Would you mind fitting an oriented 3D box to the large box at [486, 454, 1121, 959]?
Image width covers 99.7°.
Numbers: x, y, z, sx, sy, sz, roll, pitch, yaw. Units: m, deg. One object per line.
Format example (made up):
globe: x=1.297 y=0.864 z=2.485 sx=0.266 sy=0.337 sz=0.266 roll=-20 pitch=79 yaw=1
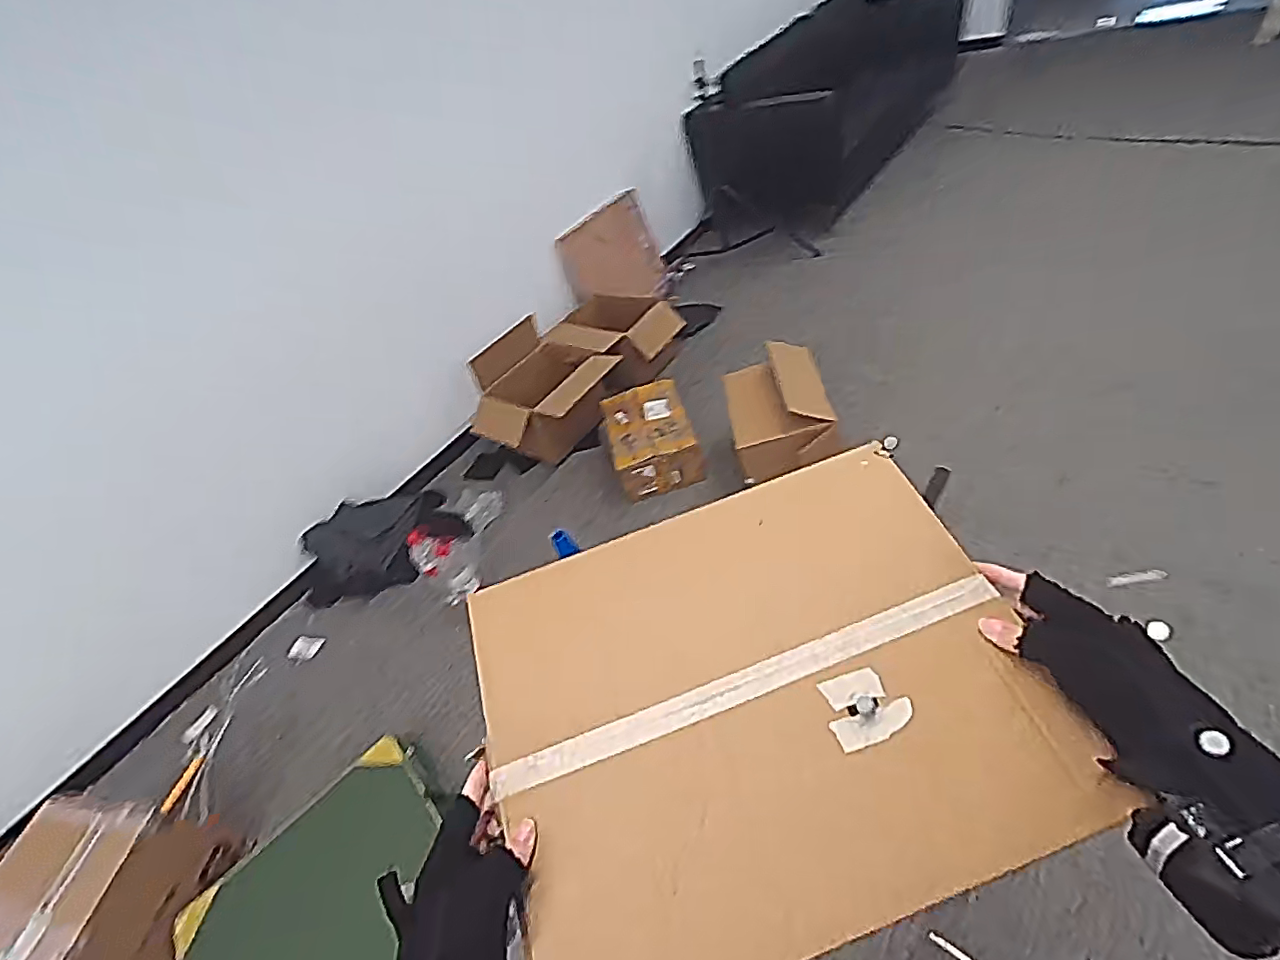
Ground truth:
large box: x=0.110 y=0.241 z=0.551 sx=0.408 sy=0.320 sz=0.320 roll=-20 pitch=57 yaw=-3
